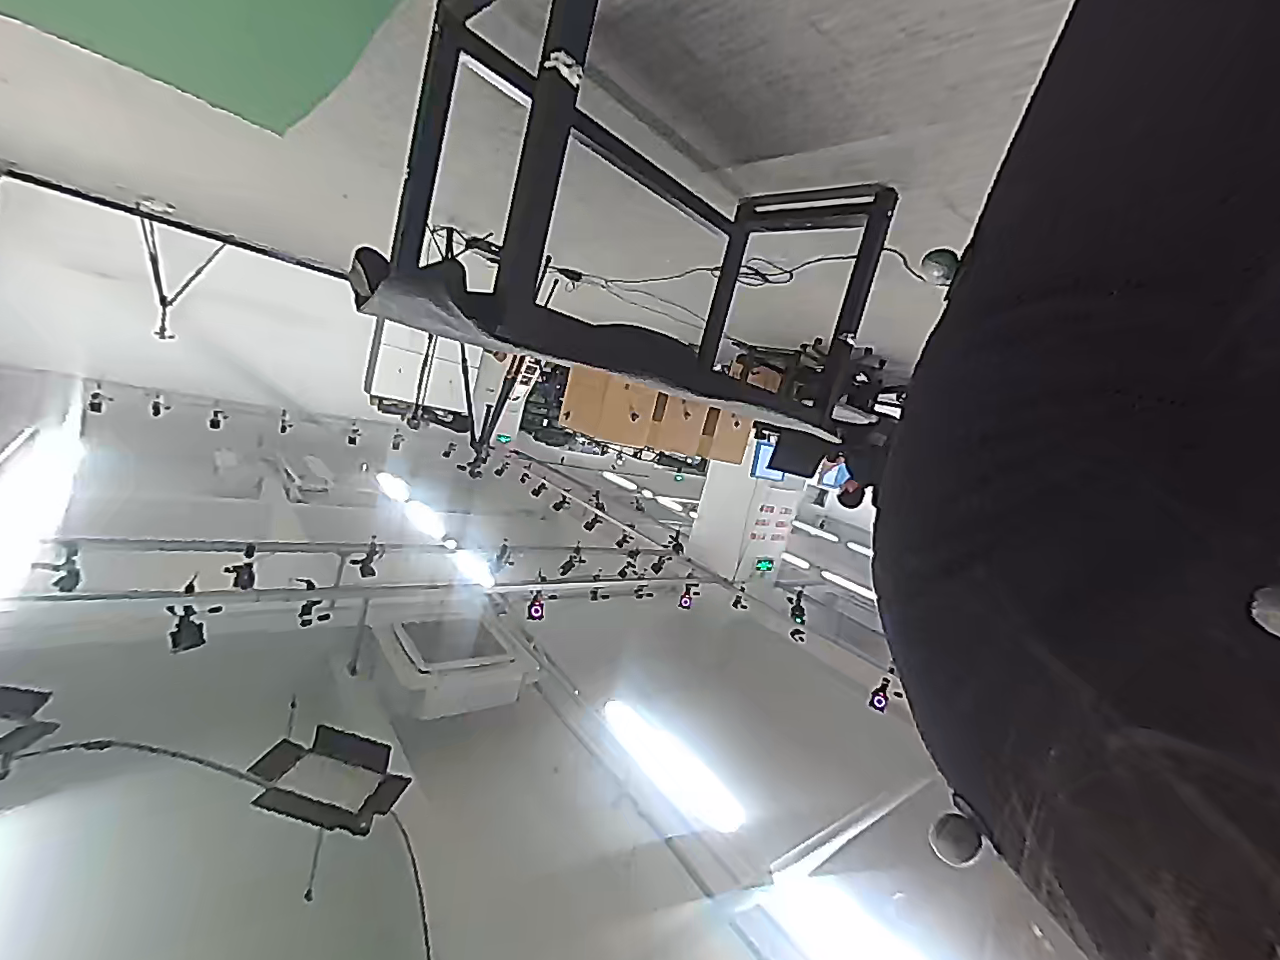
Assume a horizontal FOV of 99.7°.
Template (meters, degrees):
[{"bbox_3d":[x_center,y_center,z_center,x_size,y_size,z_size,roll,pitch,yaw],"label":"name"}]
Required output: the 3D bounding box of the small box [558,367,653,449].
[{"bbox_3d":[-0.085,-0.188,1.389,0.168,0.176,0.179,8,-169,-42],"label":"small box"}]

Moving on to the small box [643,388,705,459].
[{"bbox_3d":[0.060,-0.172,1.559,0.168,0.176,0.179,8,-169,-41],"label":"small box"}]
